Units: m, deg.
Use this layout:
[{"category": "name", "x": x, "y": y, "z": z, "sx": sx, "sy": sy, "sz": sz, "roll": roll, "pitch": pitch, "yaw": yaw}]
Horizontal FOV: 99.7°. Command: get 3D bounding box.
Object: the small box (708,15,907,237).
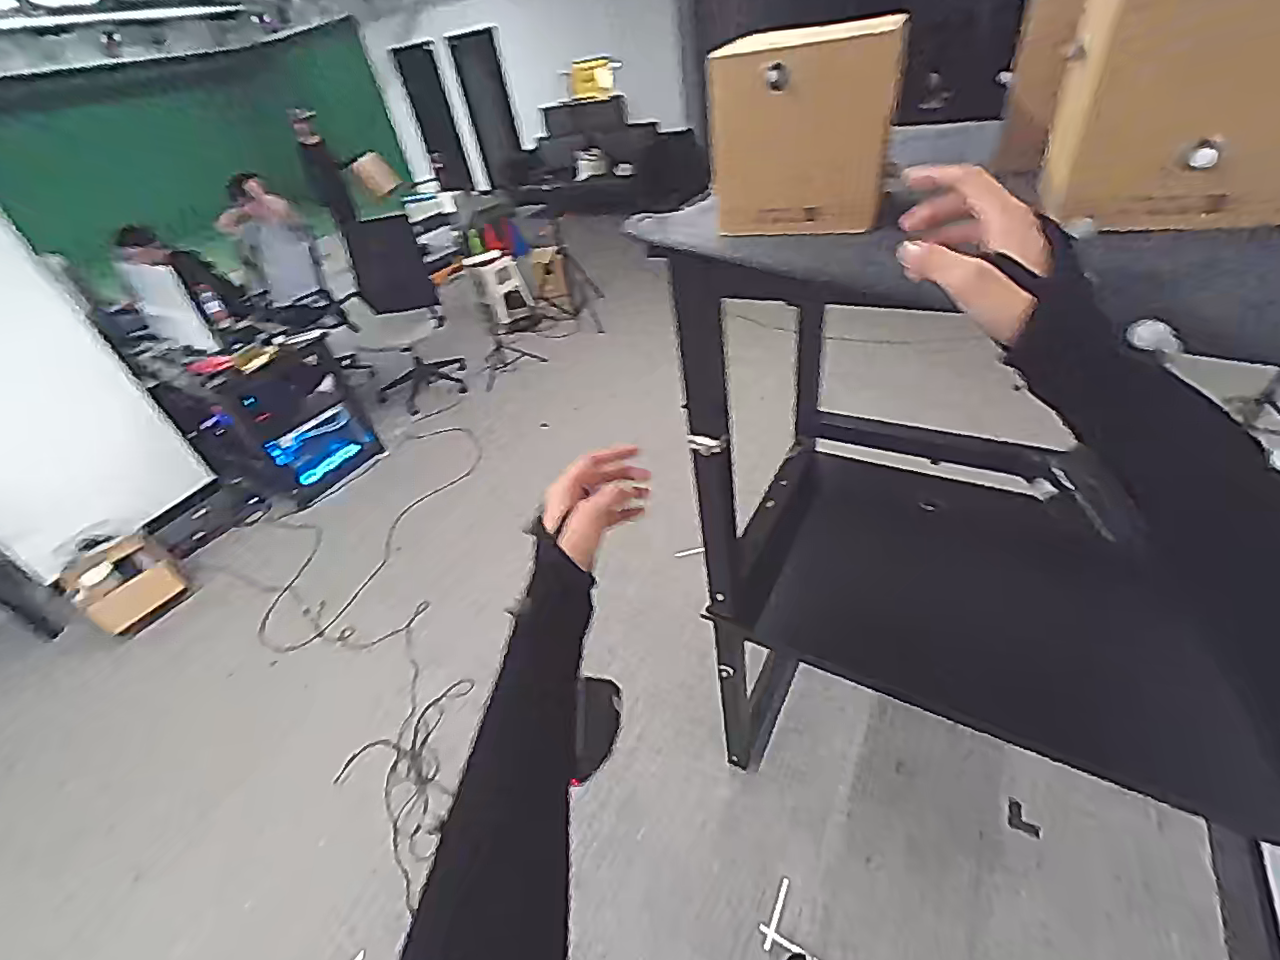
[{"category": "small box", "x": 0.180, "y": -0.377, "z": 0.584, "sx": 0.168, "sy": 0.176, "sz": 0.179, "roll": 9, "pitch": 44, "yaw": 23}]
